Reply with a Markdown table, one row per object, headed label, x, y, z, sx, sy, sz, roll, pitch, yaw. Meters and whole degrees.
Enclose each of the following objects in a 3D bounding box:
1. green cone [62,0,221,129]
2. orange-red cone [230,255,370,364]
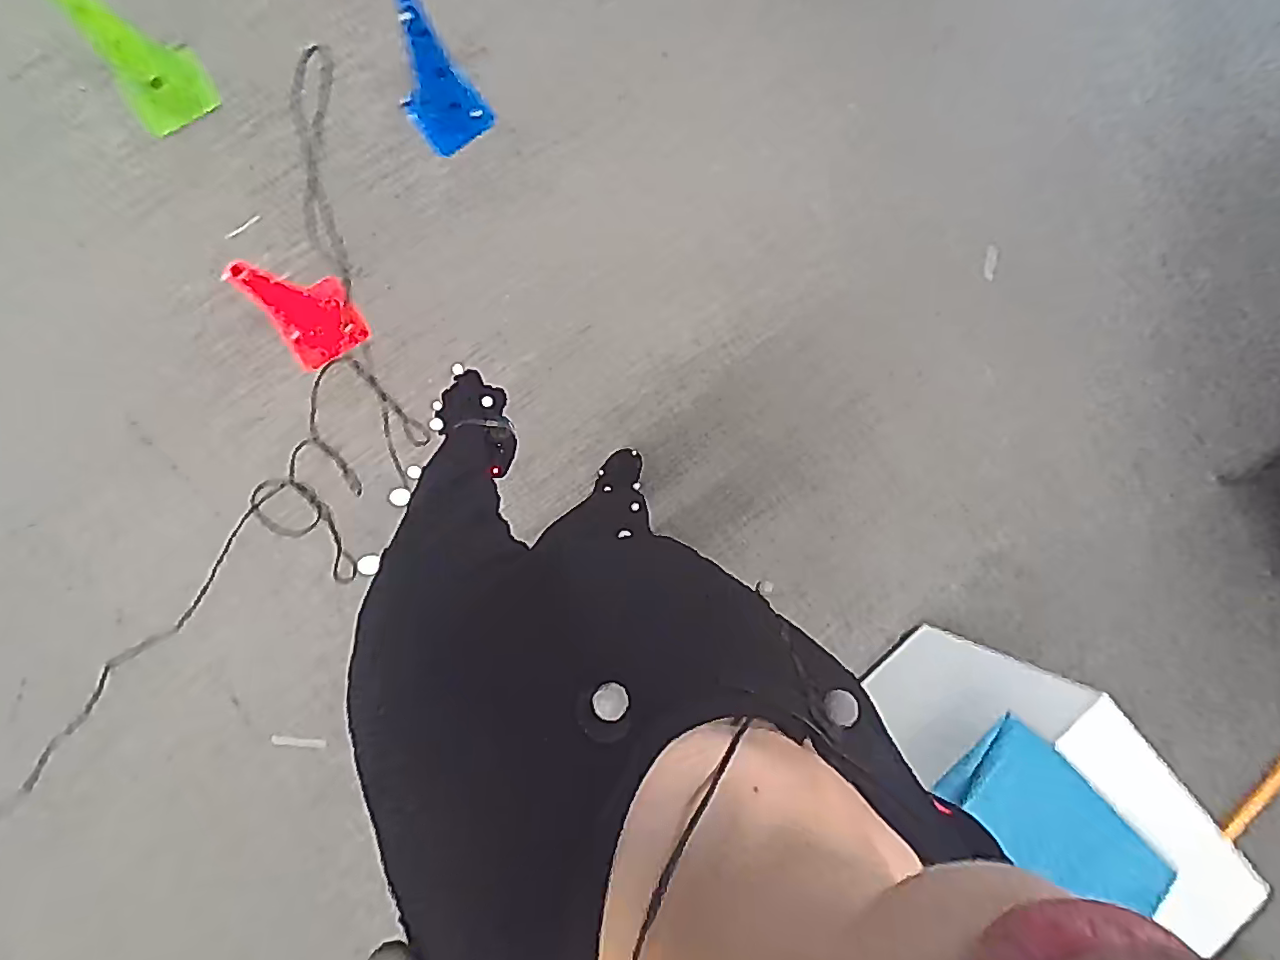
| label | x | y | z | sx | sy | sz | roll | pitch | yaw |
| --- | --- | --- | --- | --- | --- | --- | --- | --- | --- |
| green cone | -1.235 | -1.057 | 1.264 | 0.200 | 0.368 | 0.202 | -34 | 93 | -4 |
| orange-red cone | -0.842 | -0.440 | 1.288 | 0.198 | 0.360 | 0.199 | -31 | 90 | -6 |
